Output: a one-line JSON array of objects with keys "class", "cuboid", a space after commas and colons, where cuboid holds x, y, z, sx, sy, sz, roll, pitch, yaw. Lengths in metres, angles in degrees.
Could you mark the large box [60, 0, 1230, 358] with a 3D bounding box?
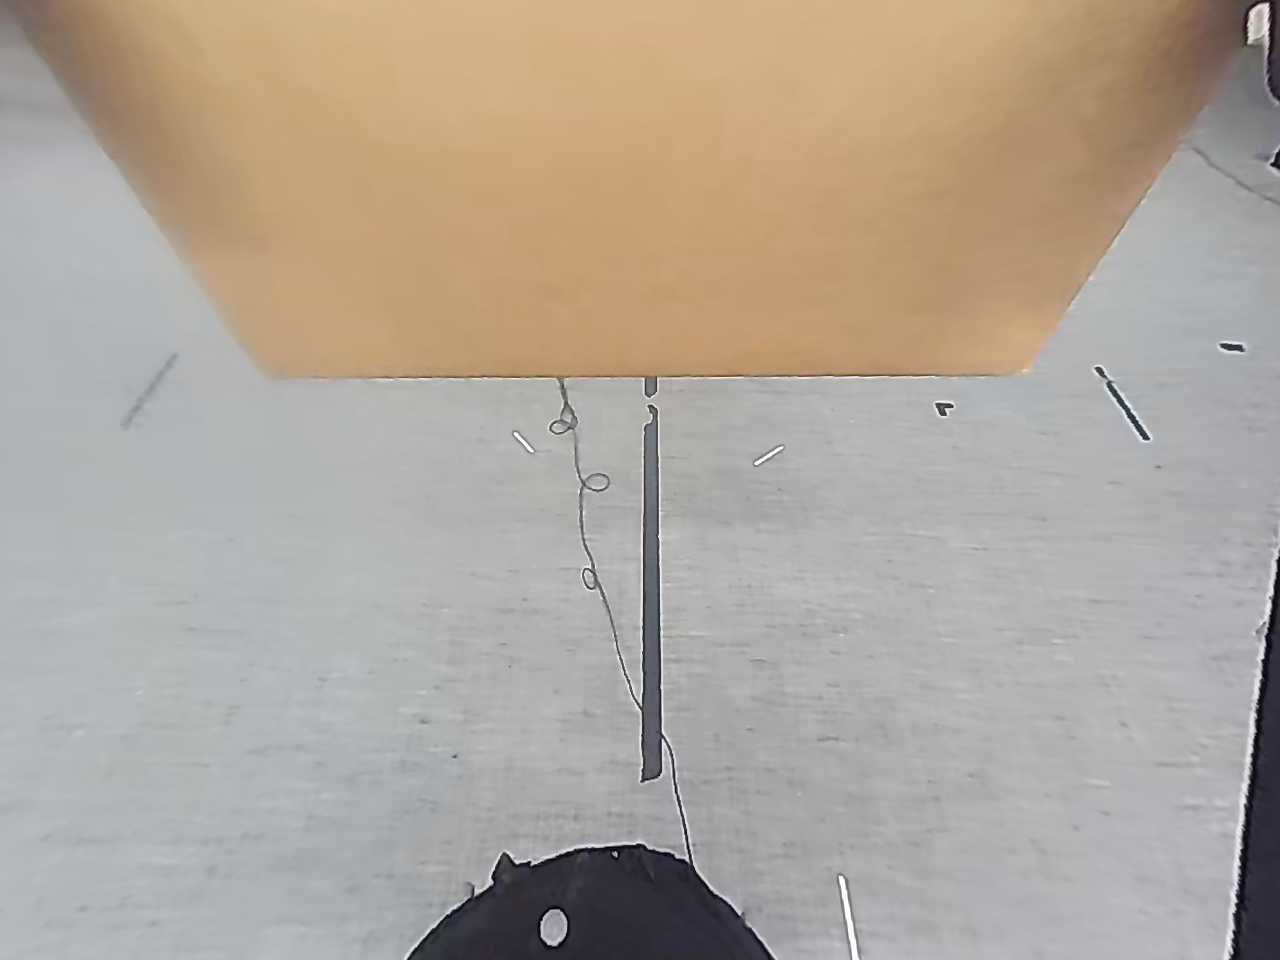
[{"class": "large box", "cuboid": [0.002, -0.275, 0.273, 0.408, 0.320, 0.320, 0, 50, -1]}]
